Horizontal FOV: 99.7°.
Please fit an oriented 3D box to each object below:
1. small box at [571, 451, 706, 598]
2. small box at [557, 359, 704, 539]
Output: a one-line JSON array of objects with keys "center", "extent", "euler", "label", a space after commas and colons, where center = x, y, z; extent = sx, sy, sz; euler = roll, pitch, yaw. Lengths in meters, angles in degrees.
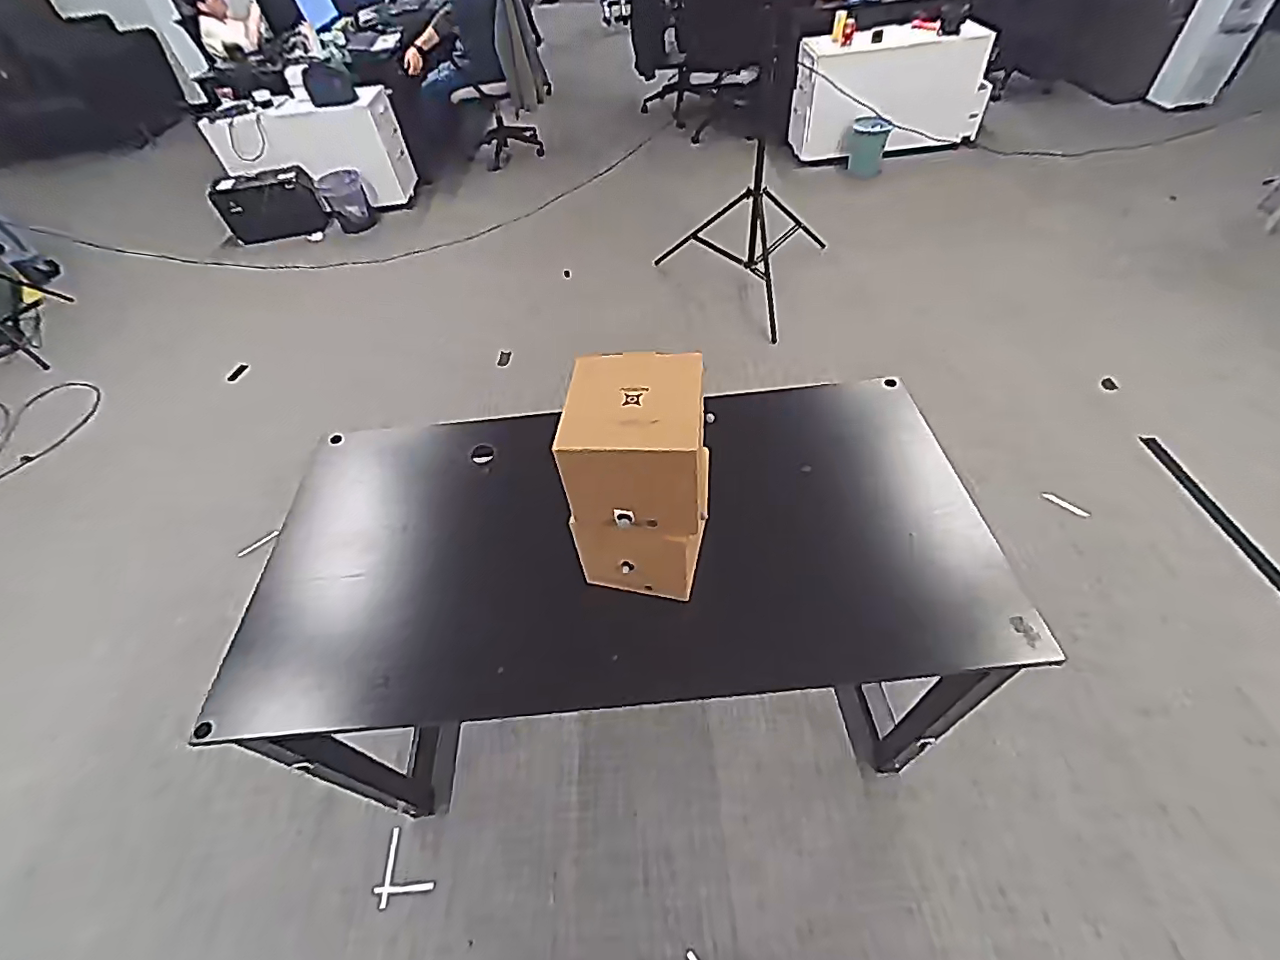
[{"center": [0.009, 0.062, 0.844], "extent": [0.168, 0.176, 0.179], "euler": [8, 51, 12], "label": "small box"}, {"center": [0.000, -0.041, 0.719], "extent": [0.168, 0.176, 0.179], "euler": [0, 51, 8], "label": "small box"}]
